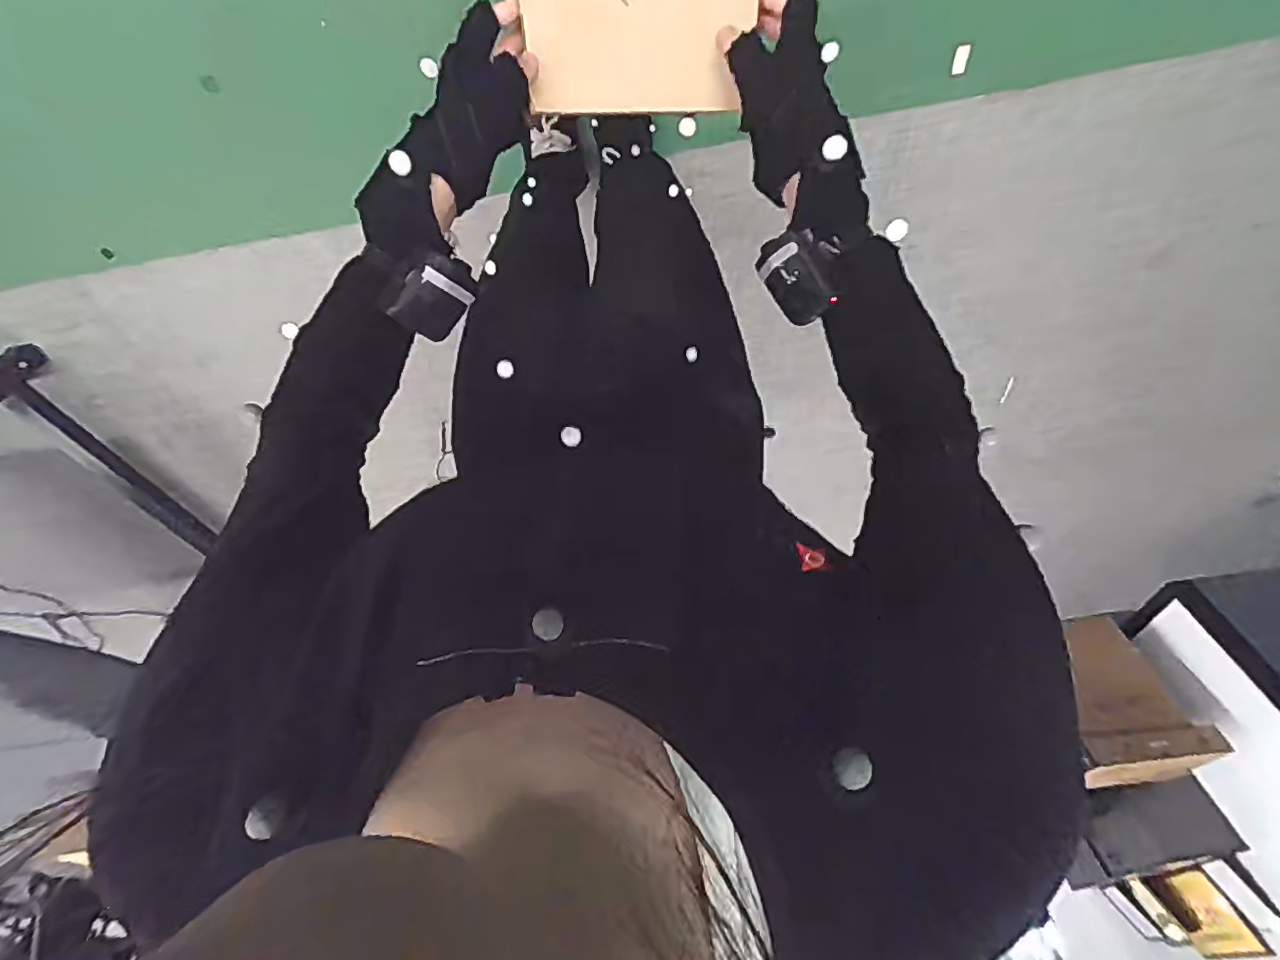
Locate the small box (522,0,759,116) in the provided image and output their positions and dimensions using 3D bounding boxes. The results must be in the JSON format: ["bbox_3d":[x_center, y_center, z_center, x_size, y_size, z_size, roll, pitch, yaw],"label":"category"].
[{"bbox_3d":[-0.001,-0.407,0.451,0.179,0.176,0.168,0,124,-1],"label":"small box"}]

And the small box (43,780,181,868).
[{"bbox_3d":[-1.420,0.931,1.470,0.168,0.176,0.179,-9,137,0],"label":"small box"}]
